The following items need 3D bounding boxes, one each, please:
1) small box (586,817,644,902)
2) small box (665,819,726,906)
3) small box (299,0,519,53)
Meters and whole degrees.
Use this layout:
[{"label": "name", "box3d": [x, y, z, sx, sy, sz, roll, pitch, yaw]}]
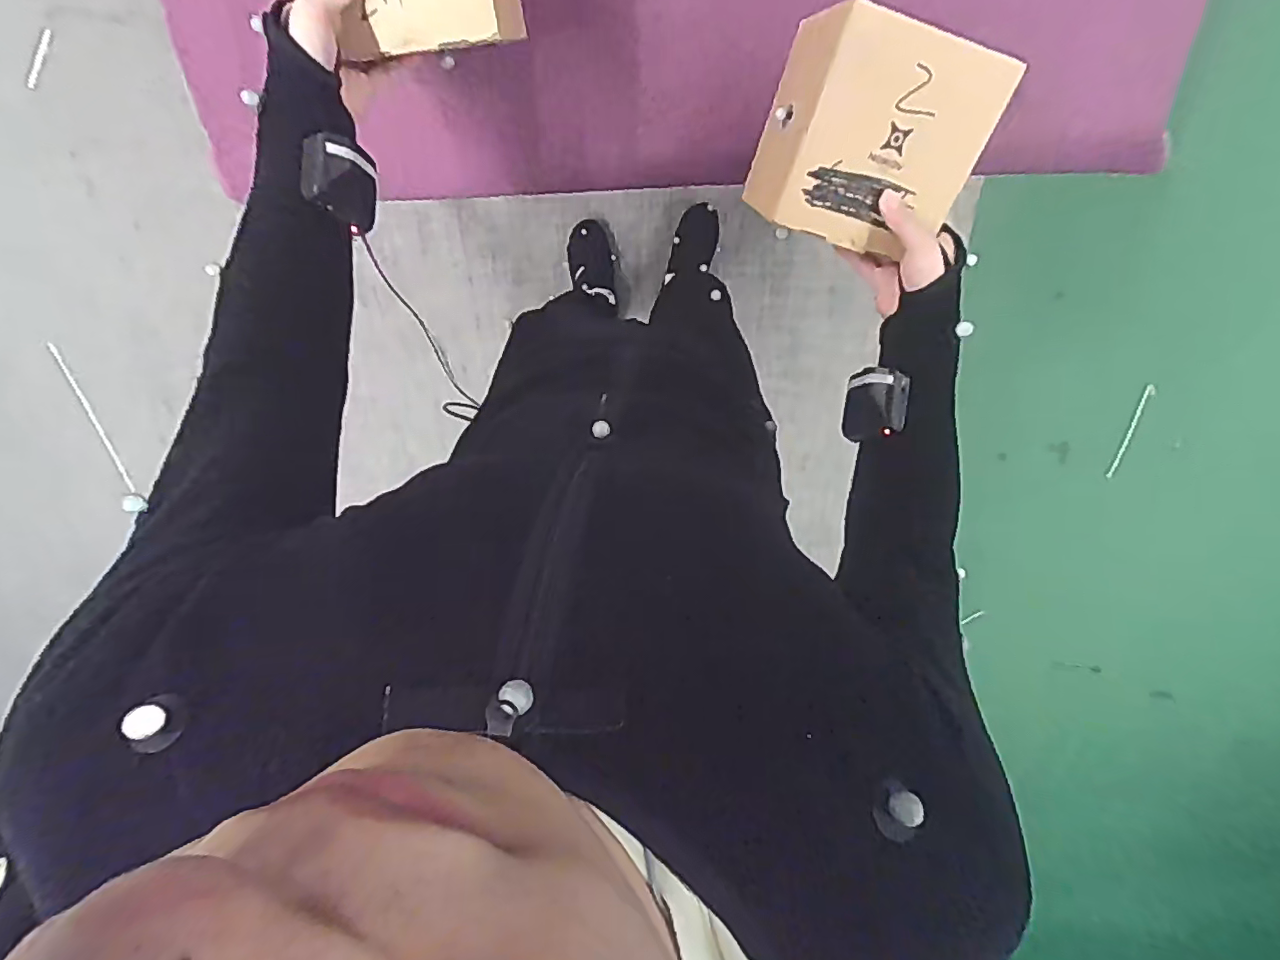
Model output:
[{"label": "small box", "box3d": [-0.080, 1.198, 1.712, 0.168, 0.176, 0.179, 5, 118, -4]}, {"label": "small box", "box3d": [0.173, 1.229, 1.740, 0.168, 0.176, 0.179, 5, 118, -3]}, {"label": "small box", "box3d": [-0.216, -0.505, 0.491, 0.168, 0.176, 0.179, -5, 130, 2]}]
